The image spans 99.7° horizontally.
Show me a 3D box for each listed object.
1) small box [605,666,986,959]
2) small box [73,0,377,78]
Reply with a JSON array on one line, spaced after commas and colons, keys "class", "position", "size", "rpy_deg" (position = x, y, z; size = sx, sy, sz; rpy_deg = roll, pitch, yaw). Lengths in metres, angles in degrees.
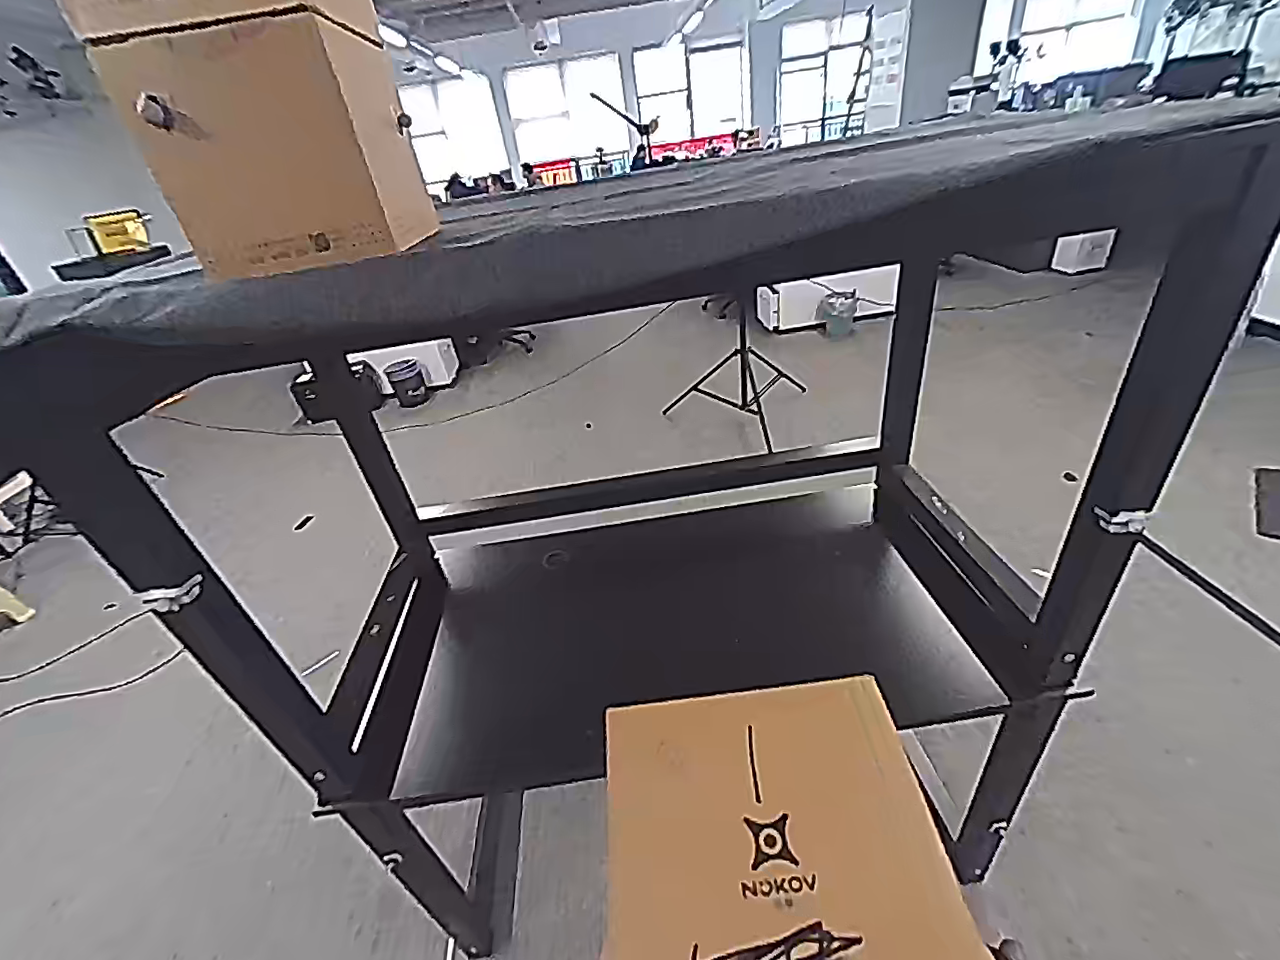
[{"class": "small box", "position": [0.075, 0.239, 0.319], "size": [0.168, 0.176, 0.179], "rpy_deg": [-8, 42, 3]}, {"class": "small box", "position": [-0.330, -0.429, 0.410], "size": [0.168, 0.176, 0.179], "rpy_deg": [-9, 31, 0]}]
